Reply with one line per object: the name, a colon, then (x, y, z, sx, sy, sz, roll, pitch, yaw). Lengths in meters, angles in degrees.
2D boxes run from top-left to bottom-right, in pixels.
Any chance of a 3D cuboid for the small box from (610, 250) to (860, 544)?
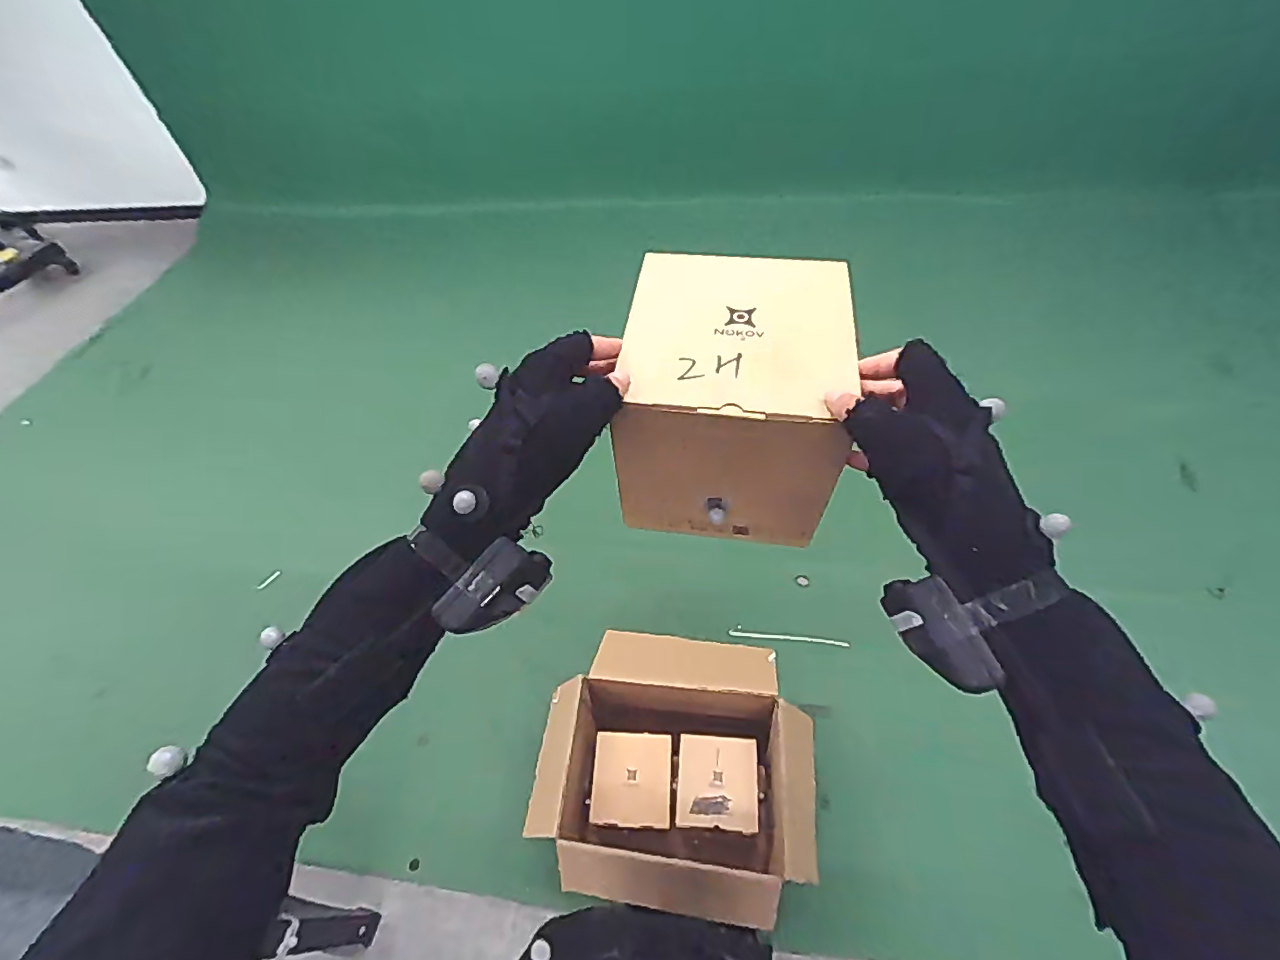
small box: (0.076, -0.069, 0.462, 0.168, 0.176, 0.179, 6, 54, 8)
